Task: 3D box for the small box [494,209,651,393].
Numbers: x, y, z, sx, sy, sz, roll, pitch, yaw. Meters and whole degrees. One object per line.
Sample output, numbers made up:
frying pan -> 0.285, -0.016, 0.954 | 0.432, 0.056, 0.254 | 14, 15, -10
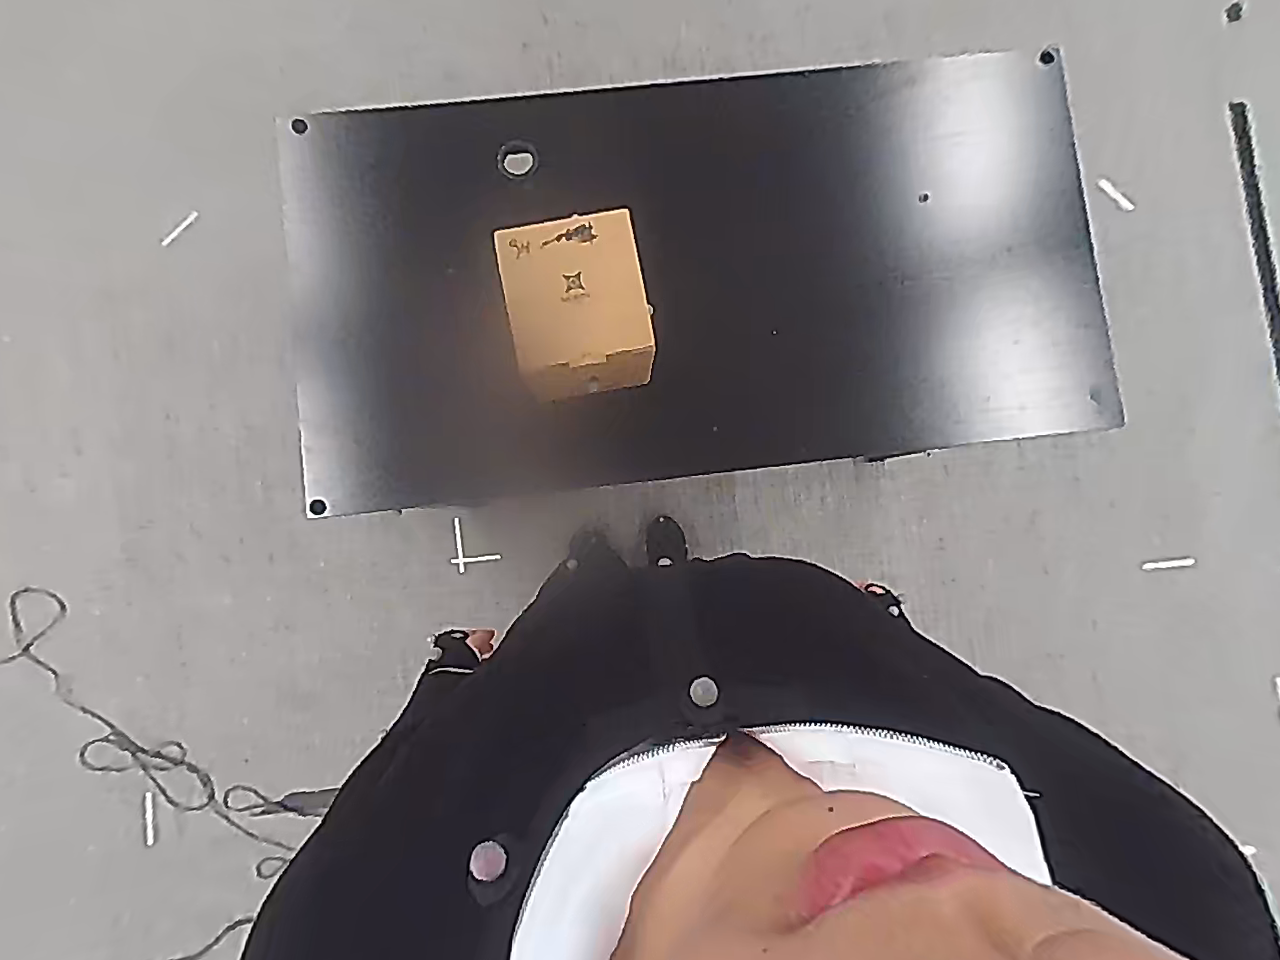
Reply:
small box -> -0.080, -0.222, 0.723 | 0.168, 0.176, 0.179 | -11, 87, -2
